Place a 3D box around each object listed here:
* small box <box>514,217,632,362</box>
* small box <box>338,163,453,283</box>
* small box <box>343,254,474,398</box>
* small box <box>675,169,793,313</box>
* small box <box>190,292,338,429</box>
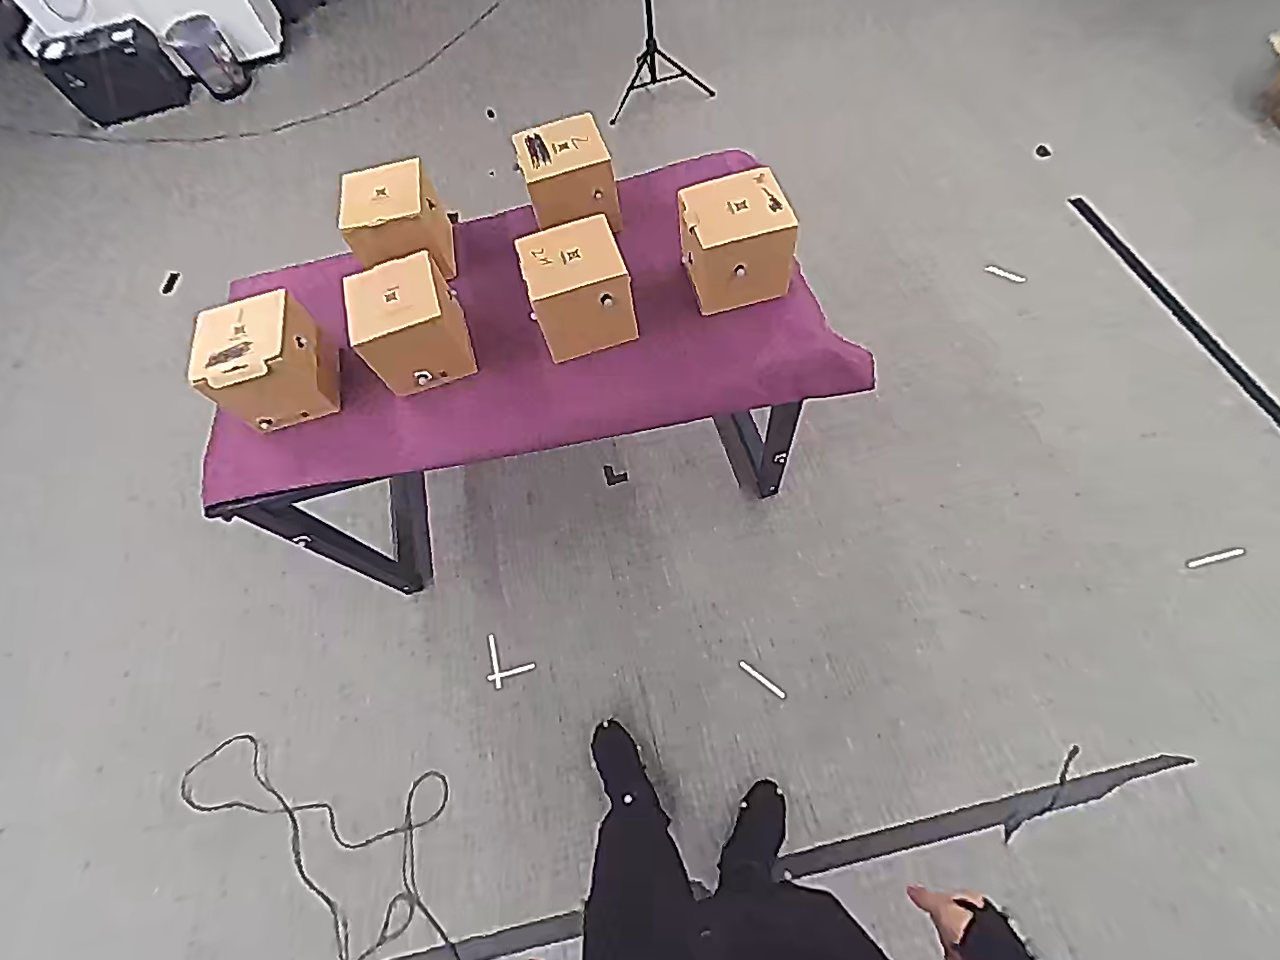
[{"bbox_3d":[-0.119,-0.354,1.025,0.179,0.176,0.168,-18,63,-1],"label":"small box"},{"bbox_3d":[-0.514,-0.533,1.156,0.168,0.176,0.179,-13,65,0],"label":"small box"},{"bbox_3d":[-0.438,-0.289,1.035,0.168,0.176,0.179,-20,64,-2],"label":"small box"},{"bbox_3d":[0.175,-0.447,1.032,0.179,0.176,0.168,-15,64,1],"label":"small box"},{"bbox_3d":[-0.702,-0.217,1.031,0.168,0.176,0.179,-17,63,-2],"label":"small box"}]
